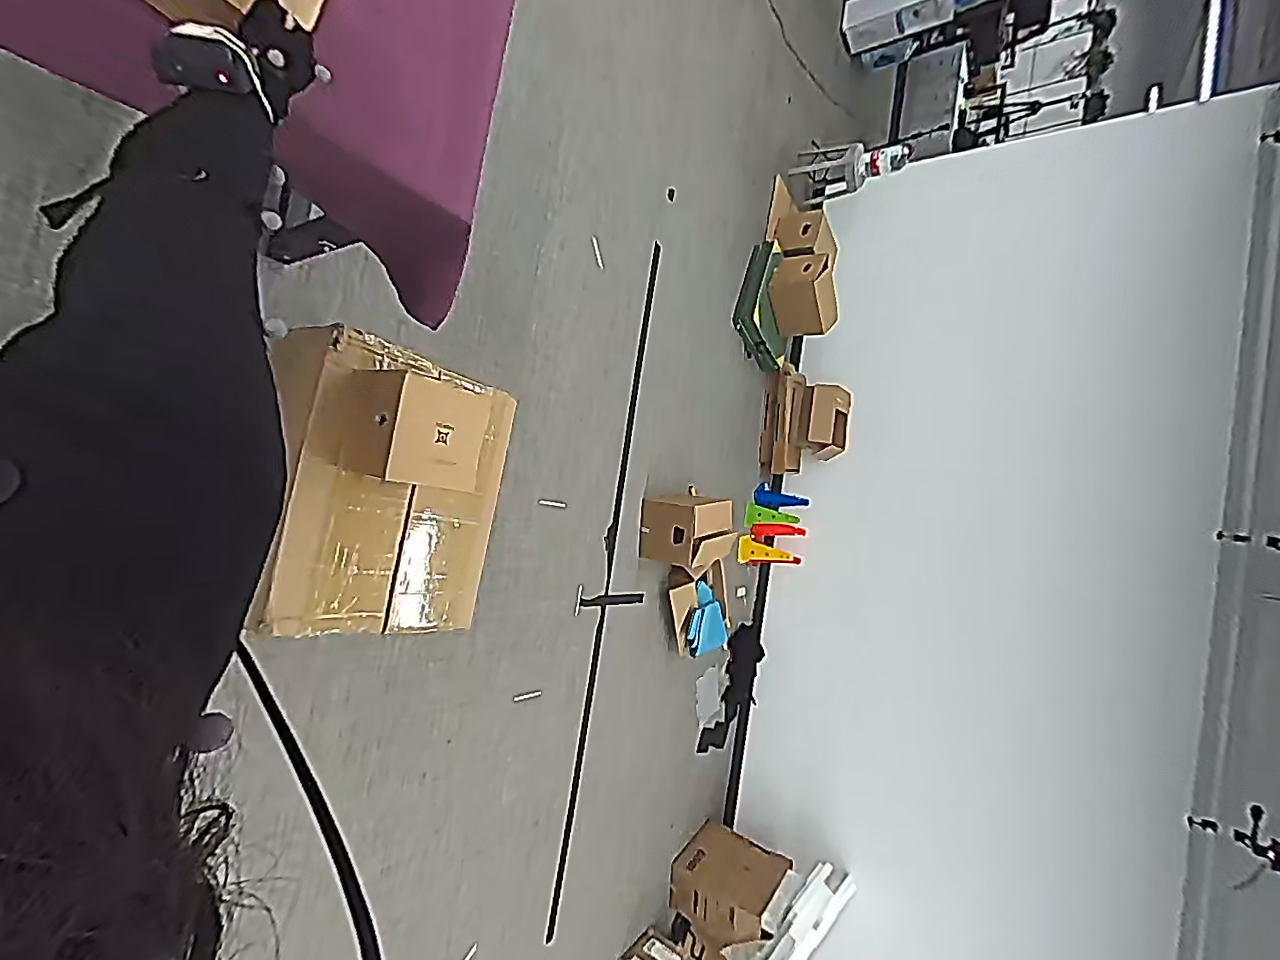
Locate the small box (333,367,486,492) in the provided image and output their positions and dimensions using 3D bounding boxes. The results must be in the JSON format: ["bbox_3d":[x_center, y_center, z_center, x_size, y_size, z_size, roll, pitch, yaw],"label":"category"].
[{"bbox_3d":[-0.395,-0.085,0.925,0.168,0.176,0.179,14,86,-53],"label":"small box"}]

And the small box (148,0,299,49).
[{"bbox_3d":[-0.452,-0.579,0.542,0.179,0.176,0.168,22,89,-54],"label":"small box"}]
